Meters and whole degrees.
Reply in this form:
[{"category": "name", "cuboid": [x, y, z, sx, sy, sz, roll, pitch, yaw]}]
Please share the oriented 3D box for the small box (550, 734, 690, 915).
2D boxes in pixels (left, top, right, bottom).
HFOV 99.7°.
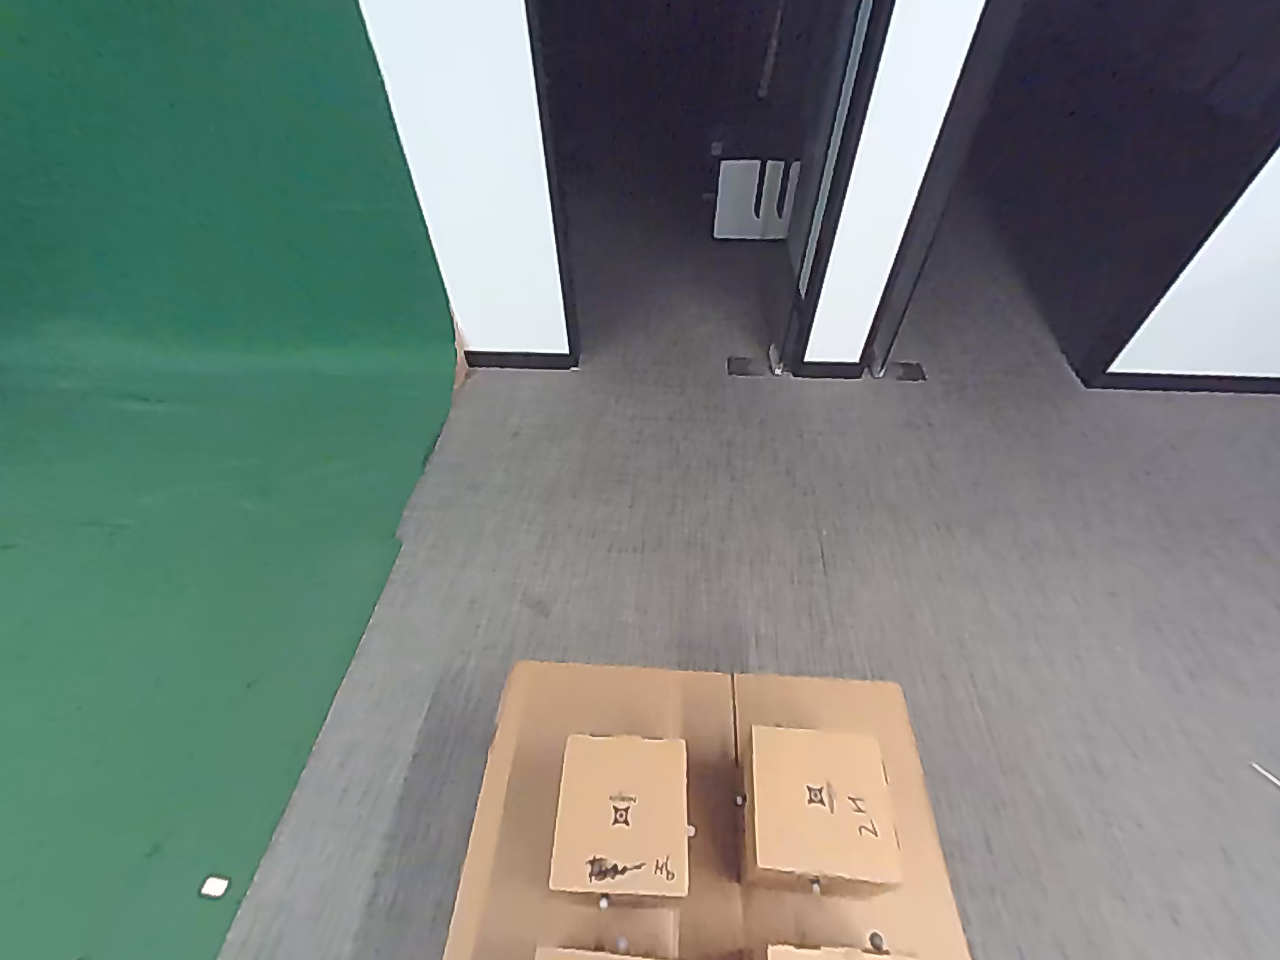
[{"category": "small box", "cuboid": [-0.018, 0.469, 0.739, 0.168, 0.176, 0.179, 0, 46, 4]}]
